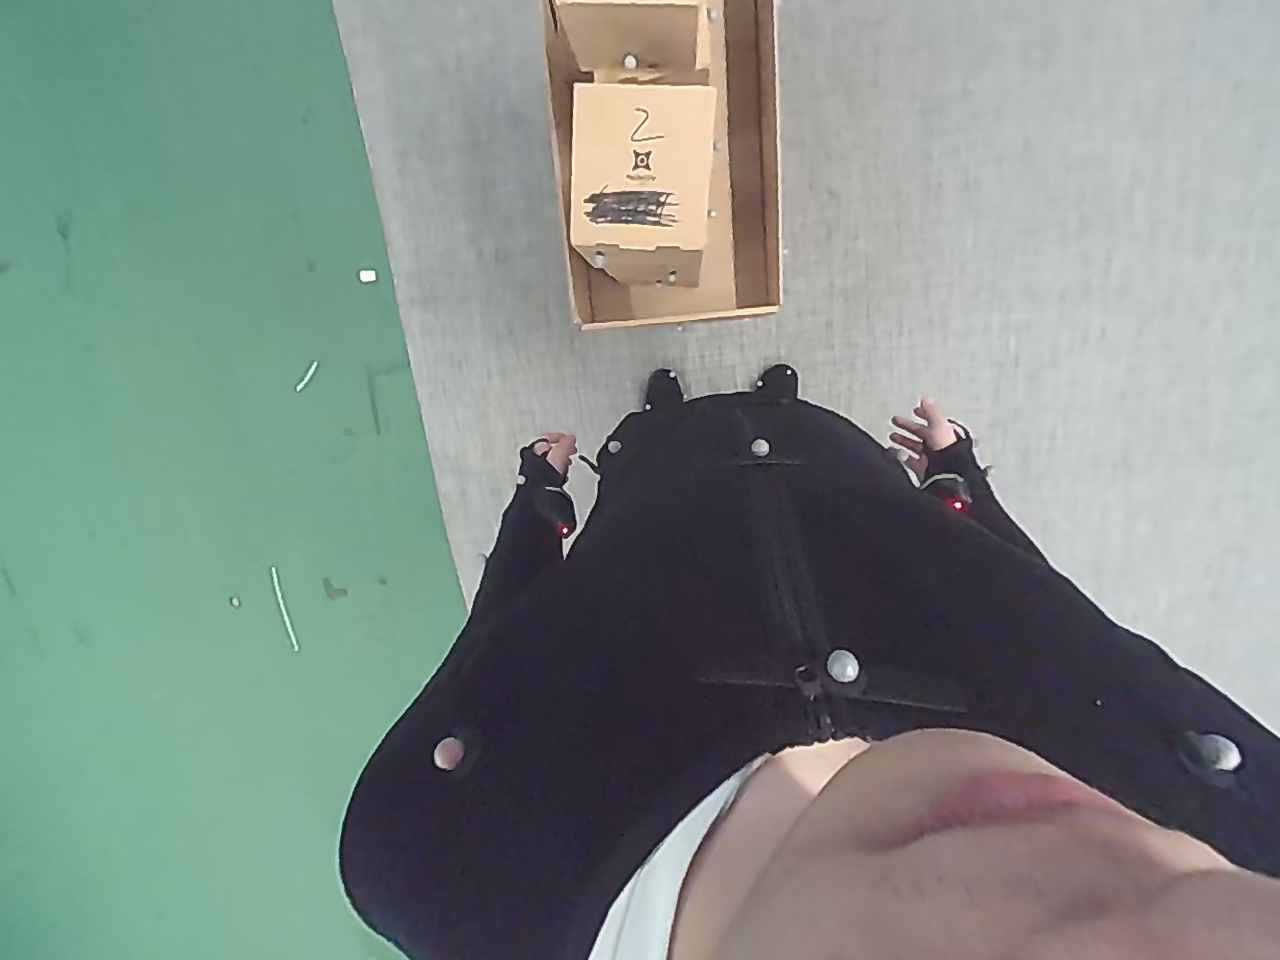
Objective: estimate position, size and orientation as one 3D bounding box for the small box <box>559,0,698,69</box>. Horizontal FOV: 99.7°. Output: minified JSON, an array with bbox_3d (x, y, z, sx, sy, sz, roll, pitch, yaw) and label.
[{"bbox_3d":[-0.009,-0.641,0.656,0.168,0.176,0.179,4,106,4],"label":"small box"}]

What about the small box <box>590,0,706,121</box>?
[{"bbox_3d":[0.008,-0.679,0.815,0.168,0.176,0.179,-5,105,5],"label":"small box"}]

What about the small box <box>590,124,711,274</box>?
[{"bbox_3d":[0.019,-0.437,0.869,0.168,0.176,0.179,6,103,3],"label":"small box"}]
